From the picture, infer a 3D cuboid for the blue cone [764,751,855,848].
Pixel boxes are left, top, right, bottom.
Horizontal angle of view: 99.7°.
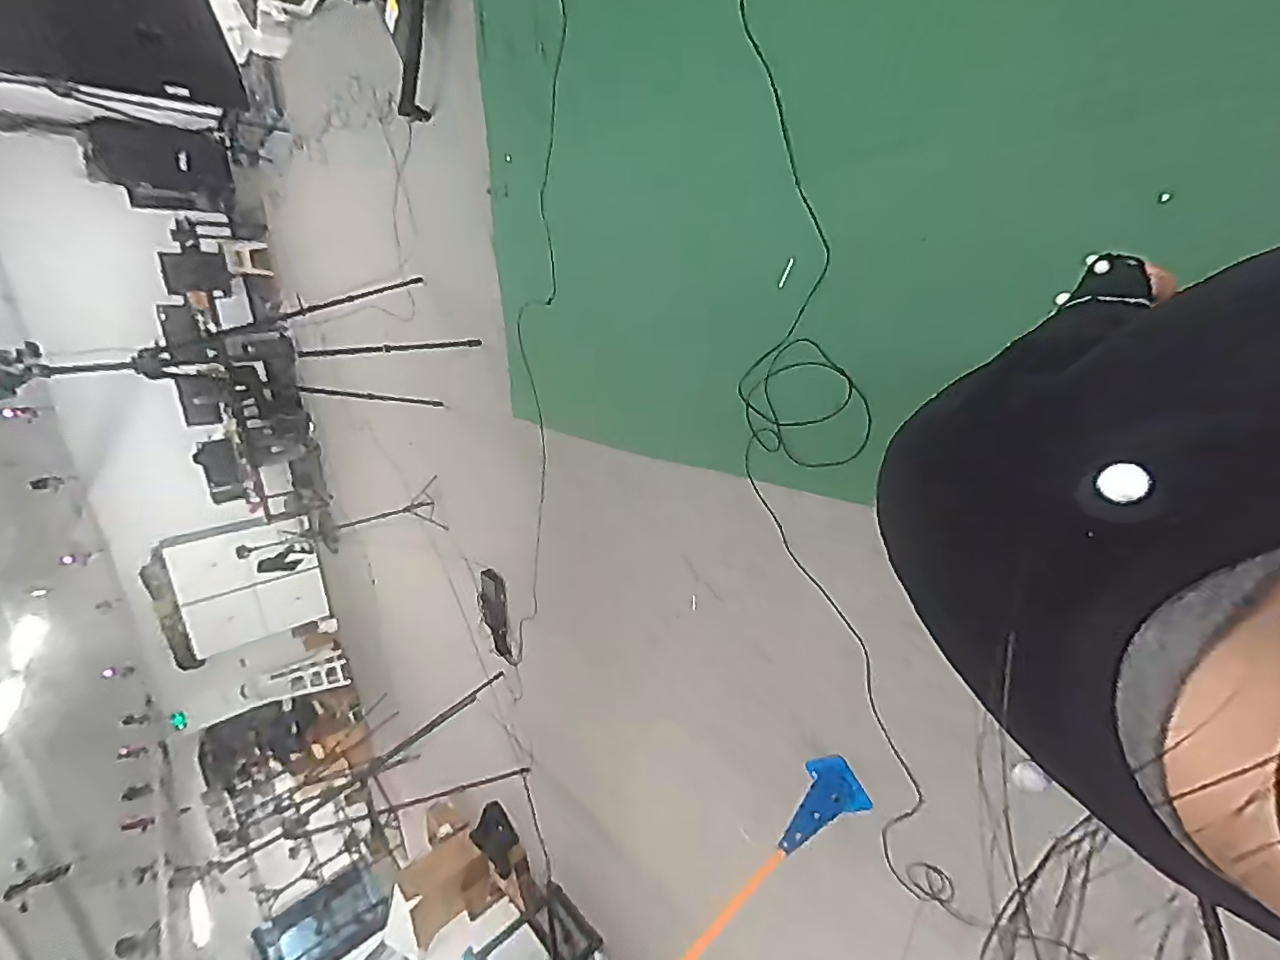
[{"bbox_3d":[0.554,1.132,1.862,0.192,0.380,0.193,56,139,15],"label":"blue cone"}]
